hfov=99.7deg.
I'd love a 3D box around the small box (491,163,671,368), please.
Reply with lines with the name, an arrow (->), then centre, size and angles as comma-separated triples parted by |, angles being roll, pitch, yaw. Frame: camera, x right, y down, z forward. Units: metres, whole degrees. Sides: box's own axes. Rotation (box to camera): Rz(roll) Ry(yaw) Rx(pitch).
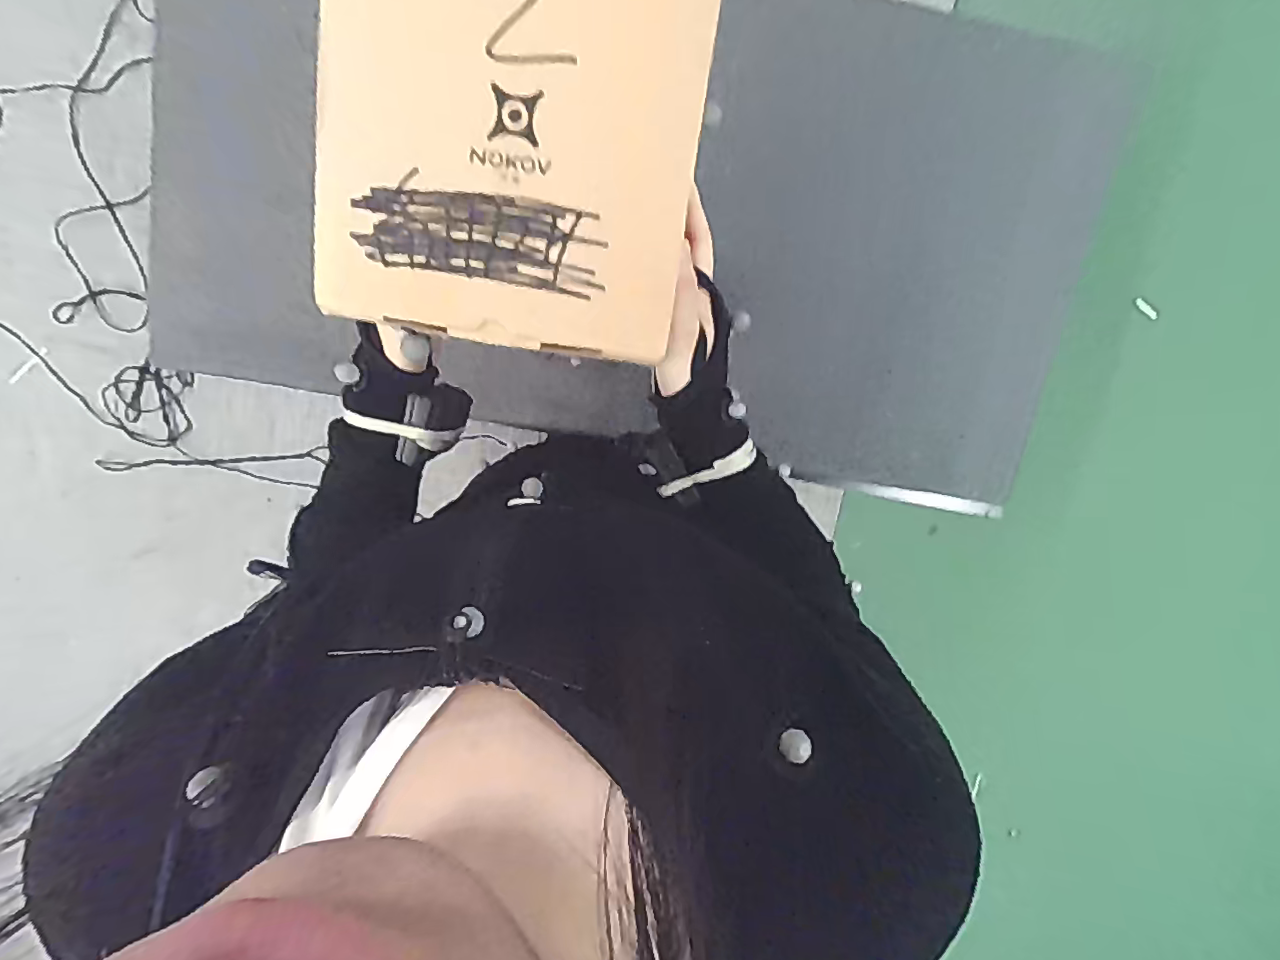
small box -> -0.064, -0.232, 0.632 | 0.168, 0.176, 0.179 | 9, 100, -2
